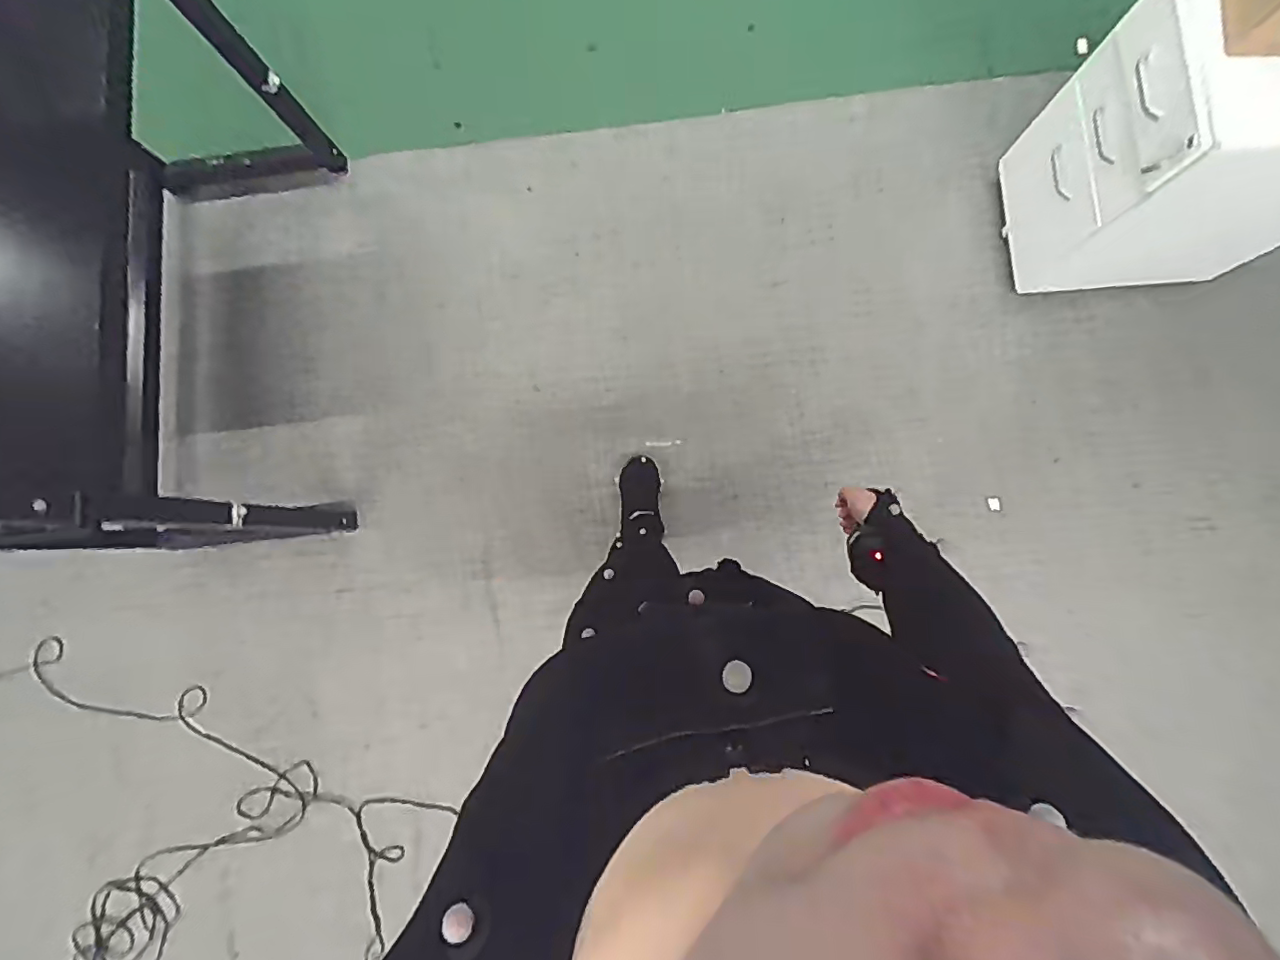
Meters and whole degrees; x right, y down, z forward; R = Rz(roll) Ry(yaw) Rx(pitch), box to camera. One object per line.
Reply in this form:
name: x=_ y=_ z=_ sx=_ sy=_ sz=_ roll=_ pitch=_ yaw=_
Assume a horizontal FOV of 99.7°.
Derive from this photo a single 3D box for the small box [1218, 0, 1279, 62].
small box: x=1.102 y=-0.827 z=0.877 sx=0.168 sy=0.176 sz=0.179 roll=2 pitch=84 yaw=3
